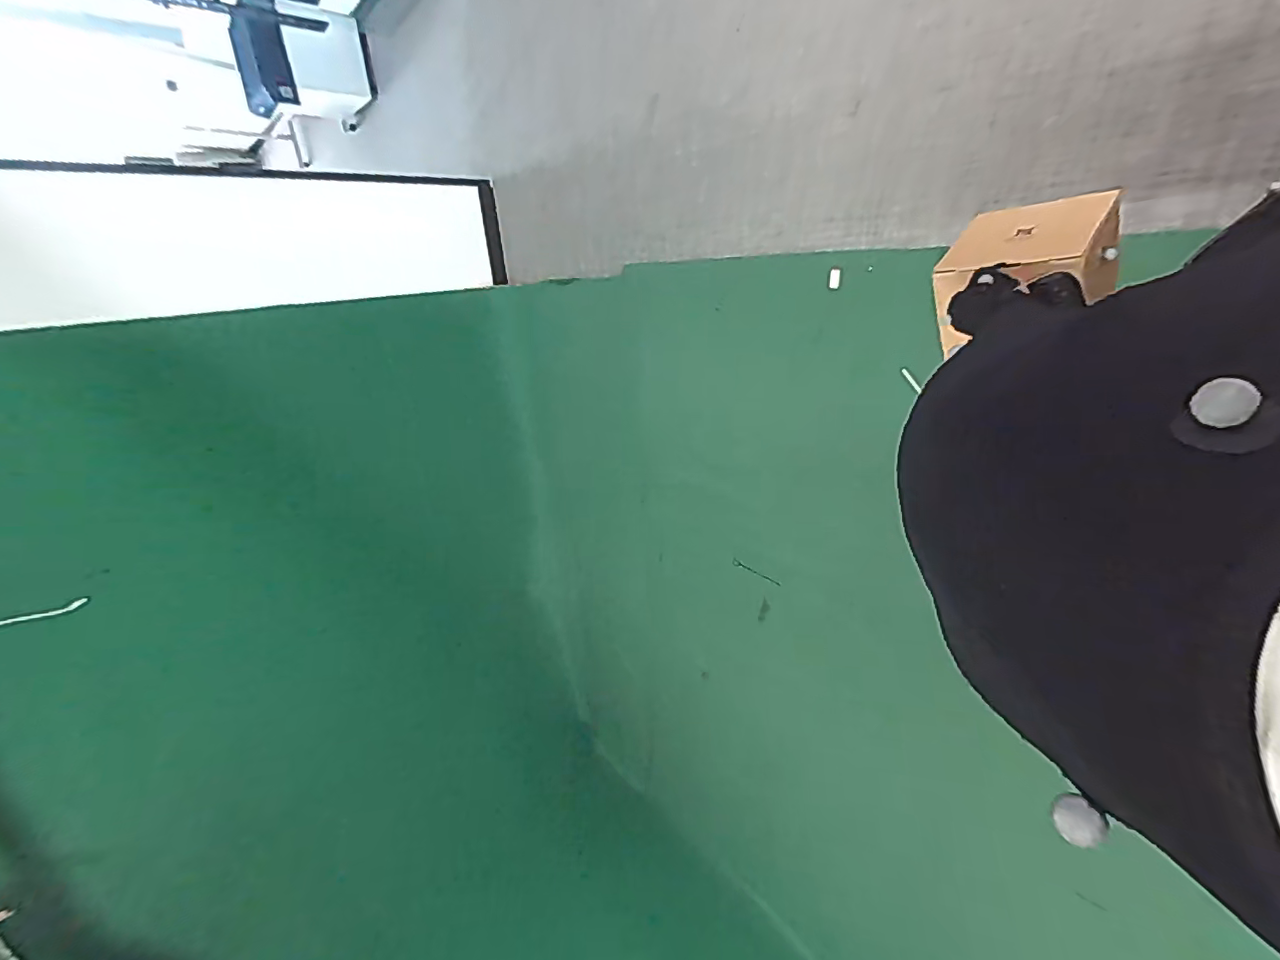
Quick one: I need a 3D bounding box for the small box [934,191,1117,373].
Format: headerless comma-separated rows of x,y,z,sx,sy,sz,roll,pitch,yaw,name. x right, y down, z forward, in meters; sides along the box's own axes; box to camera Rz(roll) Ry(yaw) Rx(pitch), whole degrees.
0.542,-0.272,0.765,0.168,0.179,0.176,14,144,47,small box
